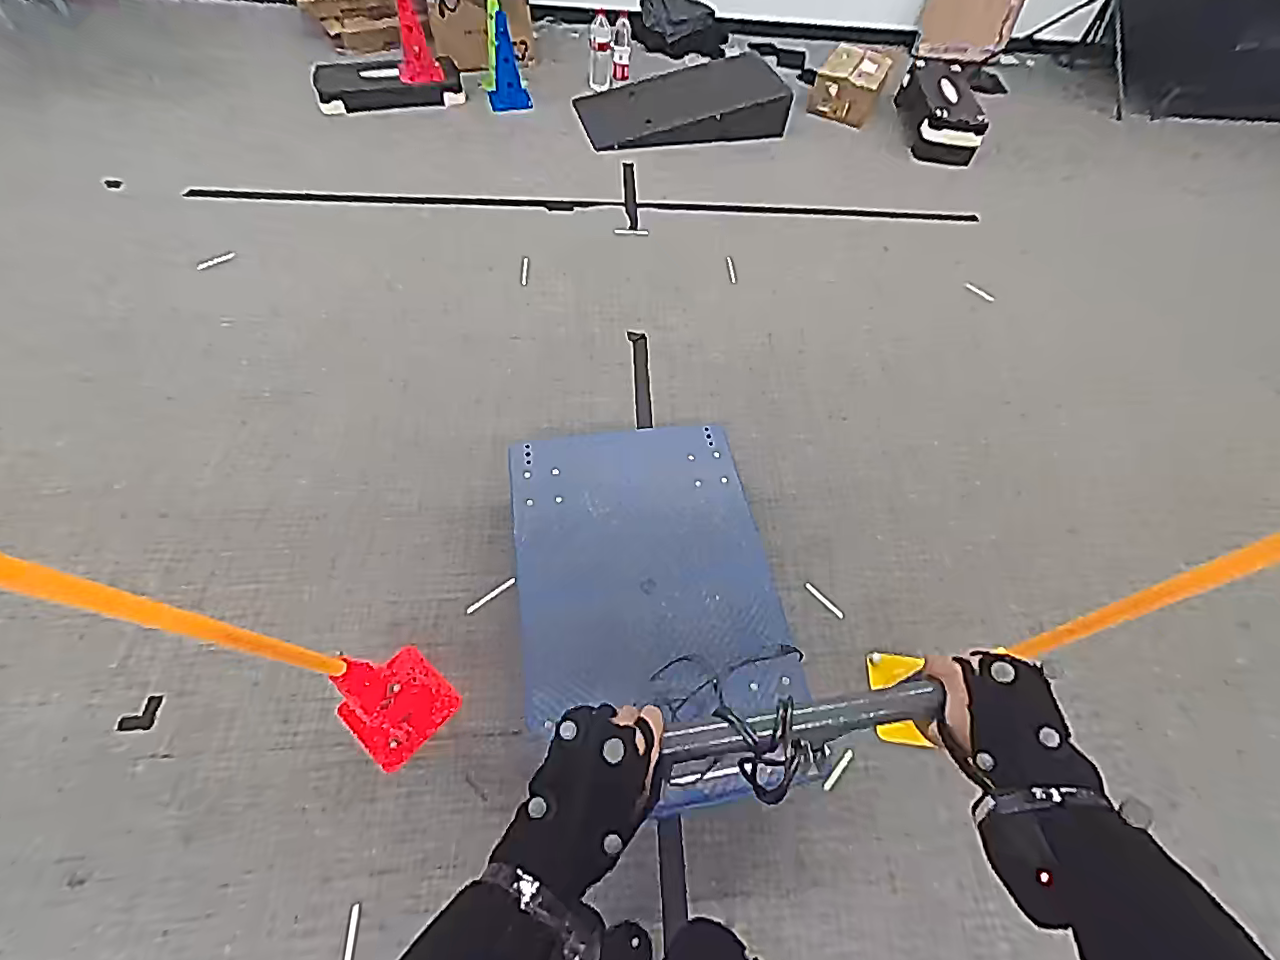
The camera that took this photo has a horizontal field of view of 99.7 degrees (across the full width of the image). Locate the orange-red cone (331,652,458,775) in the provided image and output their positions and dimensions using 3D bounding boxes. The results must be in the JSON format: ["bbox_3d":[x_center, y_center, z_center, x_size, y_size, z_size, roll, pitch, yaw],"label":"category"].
[{"bbox_3d":[-0.513,0.414,1.047,0.198,0.360,0.199,39,61,17],"label":"orange-red cone"}]
